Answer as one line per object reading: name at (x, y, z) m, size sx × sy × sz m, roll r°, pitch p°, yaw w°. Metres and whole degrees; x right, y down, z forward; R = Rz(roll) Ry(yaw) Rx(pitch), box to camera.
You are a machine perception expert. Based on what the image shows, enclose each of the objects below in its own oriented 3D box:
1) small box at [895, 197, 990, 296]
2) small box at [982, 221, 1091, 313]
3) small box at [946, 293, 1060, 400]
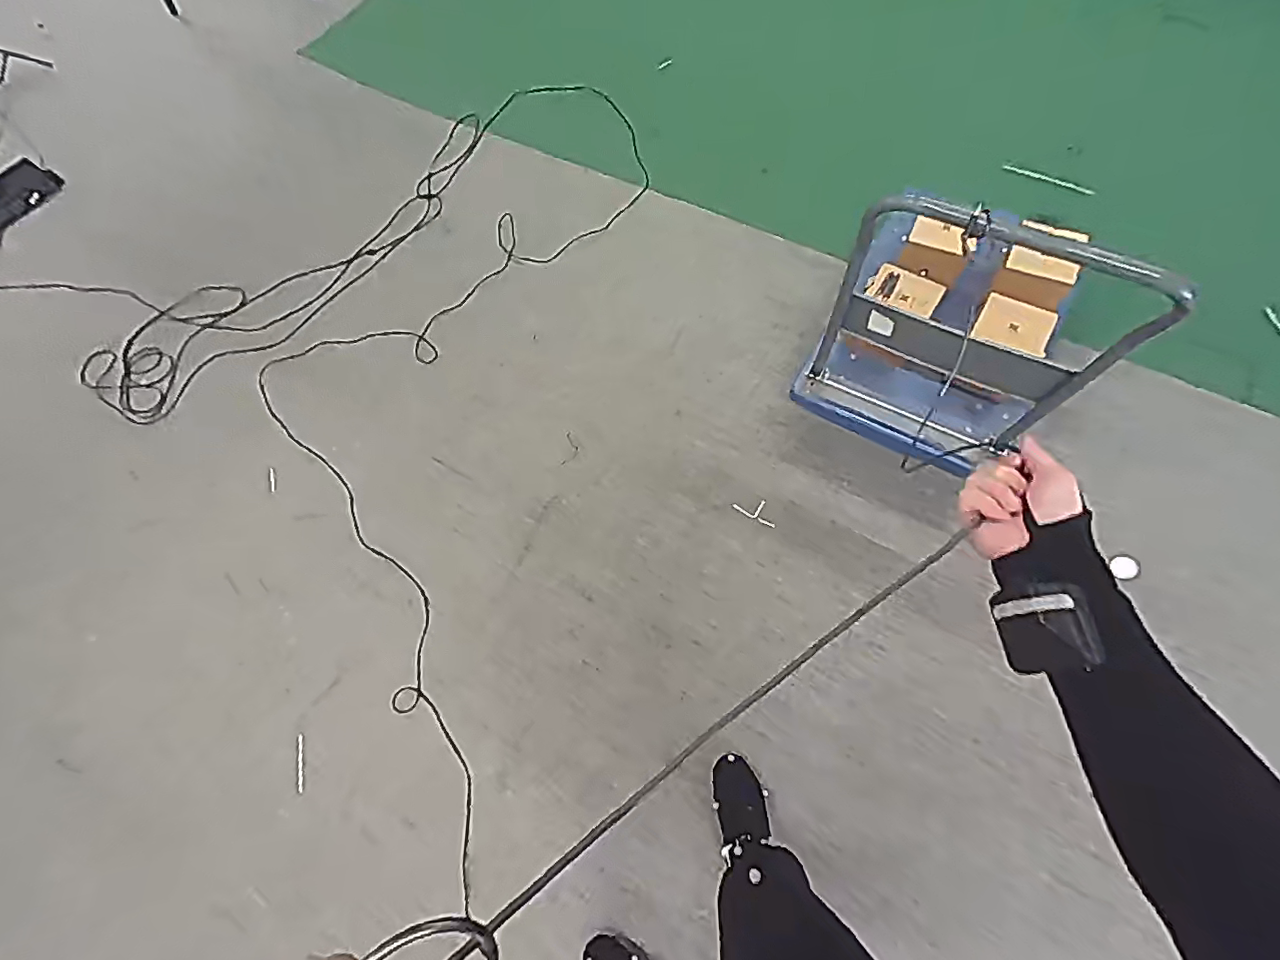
small box at (0.856, -0.662, 1.547) m, size 0.168 × 0.176 × 0.179 m, roll 25°, pitch 73°, yaw 14°
small box at (1.078, -0.563, 1.482) m, size 0.168 × 0.176 × 0.179 m, roll 24°, pitch 74°, yaw 16°
small box at (0.936, -0.343, 1.412) m, size 0.168 × 0.176 × 0.179 m, roll 29°, pitch 75°, yaw 16°
